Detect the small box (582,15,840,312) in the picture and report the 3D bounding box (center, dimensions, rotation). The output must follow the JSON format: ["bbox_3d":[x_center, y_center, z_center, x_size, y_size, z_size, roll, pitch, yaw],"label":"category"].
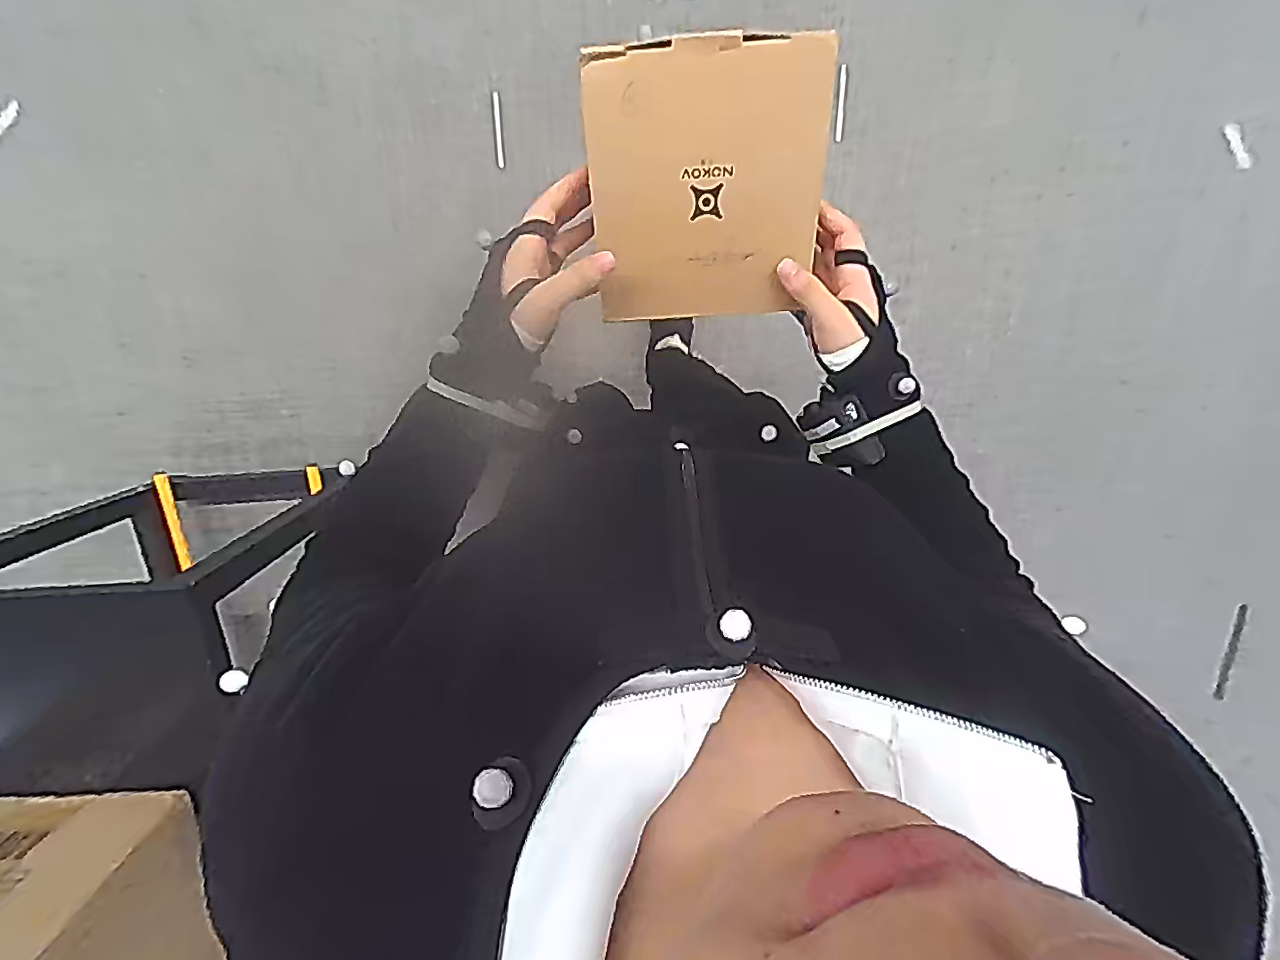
[{"bbox_3d":[0.045,-0.255,0.445,0.168,0.176,0.179,-3,126,1],"label":"small box"}]
